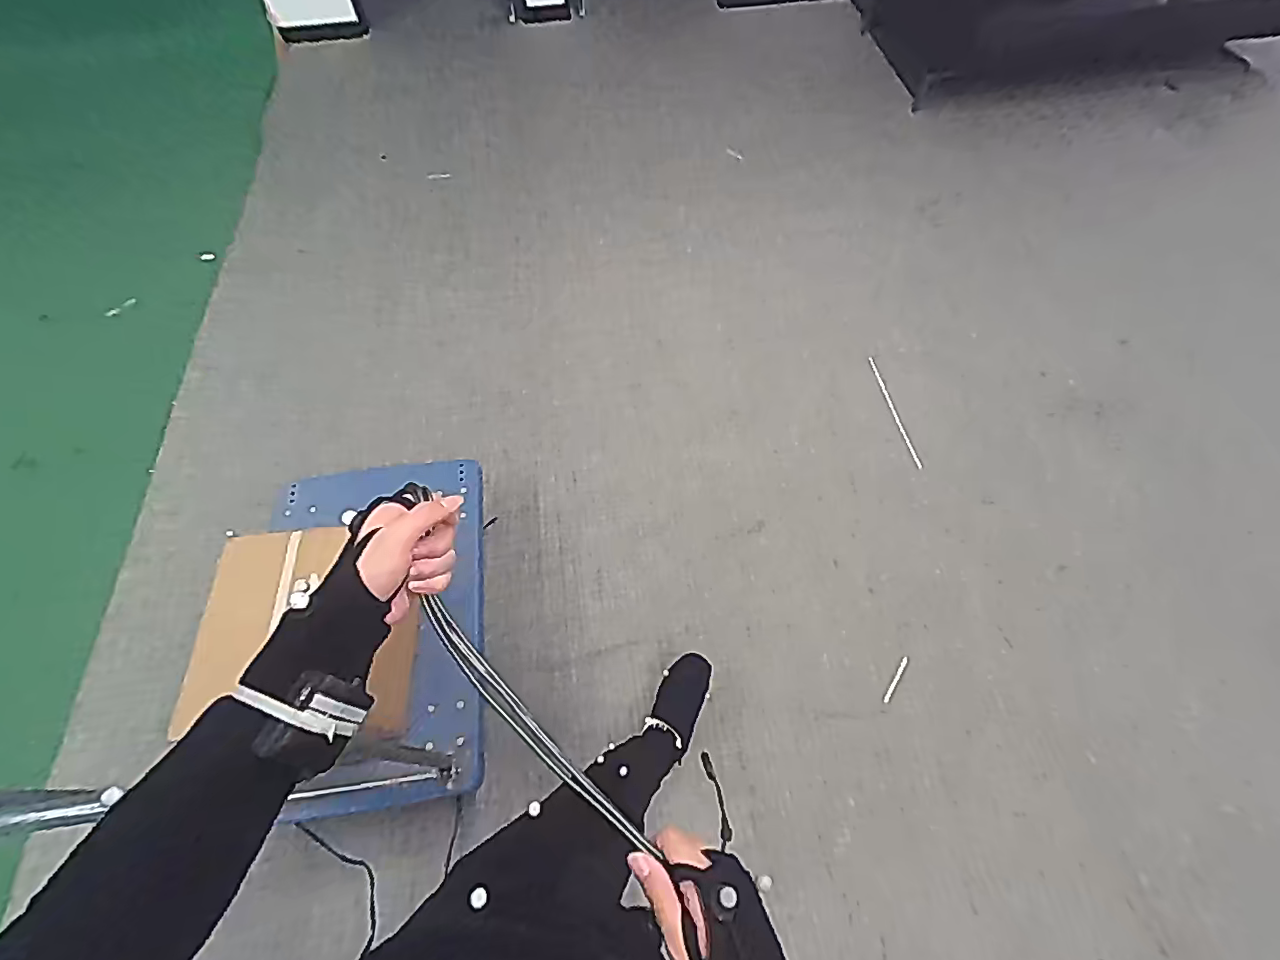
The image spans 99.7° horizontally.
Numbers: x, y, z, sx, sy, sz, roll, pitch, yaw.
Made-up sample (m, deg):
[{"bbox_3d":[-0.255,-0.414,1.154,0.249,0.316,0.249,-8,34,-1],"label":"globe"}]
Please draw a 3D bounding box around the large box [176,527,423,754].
[{"bbox_3d":[-0.698,0.360,1.193,0.320,0.320,0.408,-5,61,-3],"label":"large box"}]
